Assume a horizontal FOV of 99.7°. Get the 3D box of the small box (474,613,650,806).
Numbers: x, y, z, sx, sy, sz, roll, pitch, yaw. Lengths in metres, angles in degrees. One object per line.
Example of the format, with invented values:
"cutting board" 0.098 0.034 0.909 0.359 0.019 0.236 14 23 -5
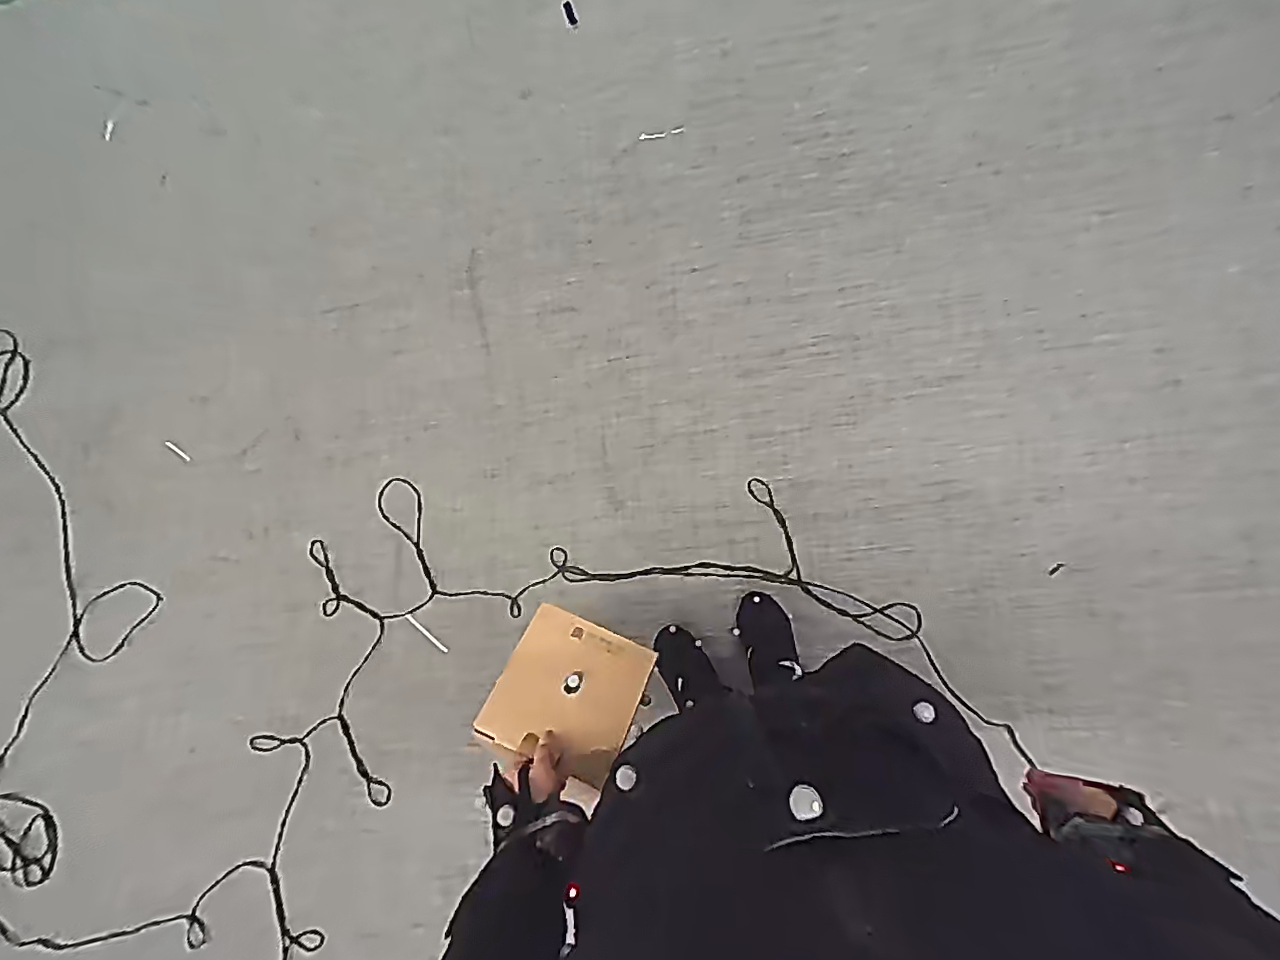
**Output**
"small box" -0.096 0.300 0.712 0.168 0.179 0.176 22 55 6
